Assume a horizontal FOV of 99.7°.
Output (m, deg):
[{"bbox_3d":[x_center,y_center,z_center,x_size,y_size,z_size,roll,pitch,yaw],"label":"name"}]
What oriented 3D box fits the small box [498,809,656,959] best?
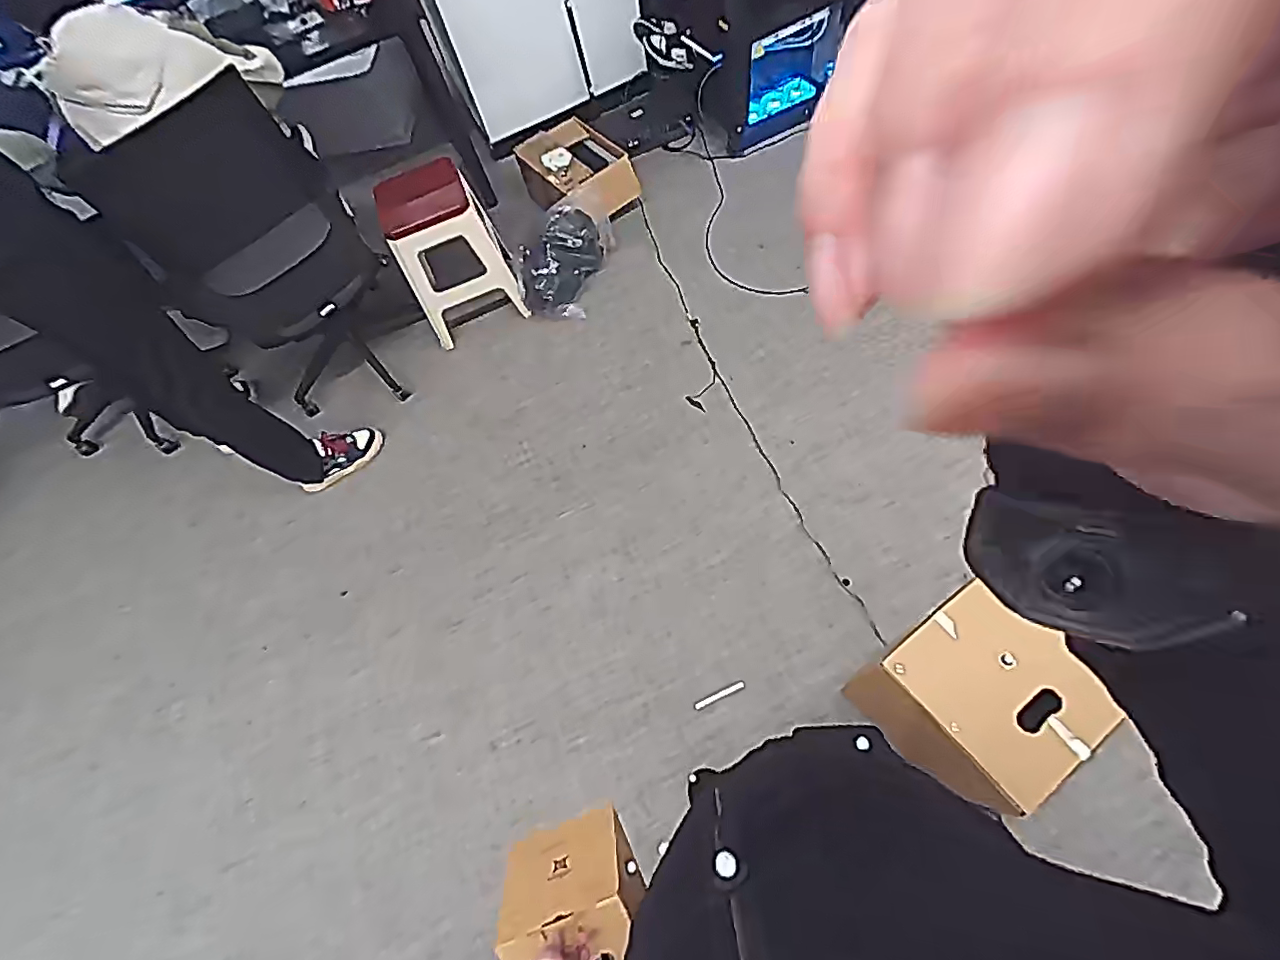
[{"bbox_3d":[-0.081,0.623,0.762,0.168,0.179,0.176,-20,95,-4],"label":"small box"}]
